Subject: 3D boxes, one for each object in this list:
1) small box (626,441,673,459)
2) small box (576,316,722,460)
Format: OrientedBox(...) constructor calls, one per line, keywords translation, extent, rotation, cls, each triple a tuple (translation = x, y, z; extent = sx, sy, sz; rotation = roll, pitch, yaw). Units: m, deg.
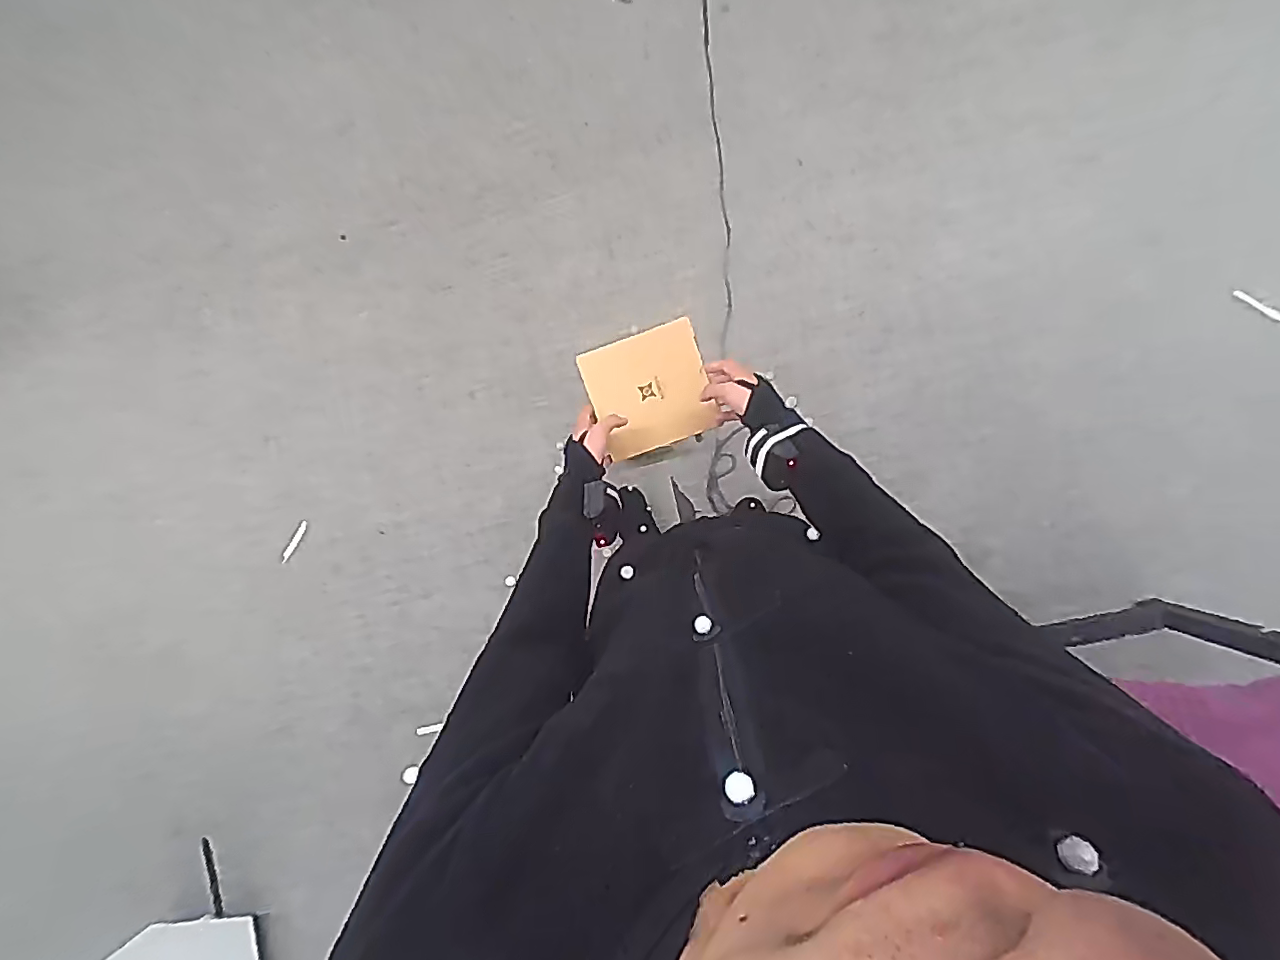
OrientedBox(translation=(-0.003, -0.164, 1.579), extent=(0.168, 0.176, 0.179), rotation=(-12, 88, 8), cls="small box")
OrientedBox(translation=(0.015, -0.140, 0.861), extent=(0.179, 0.176, 0.168), rotation=(-20, 97, 2), cls="small box")
